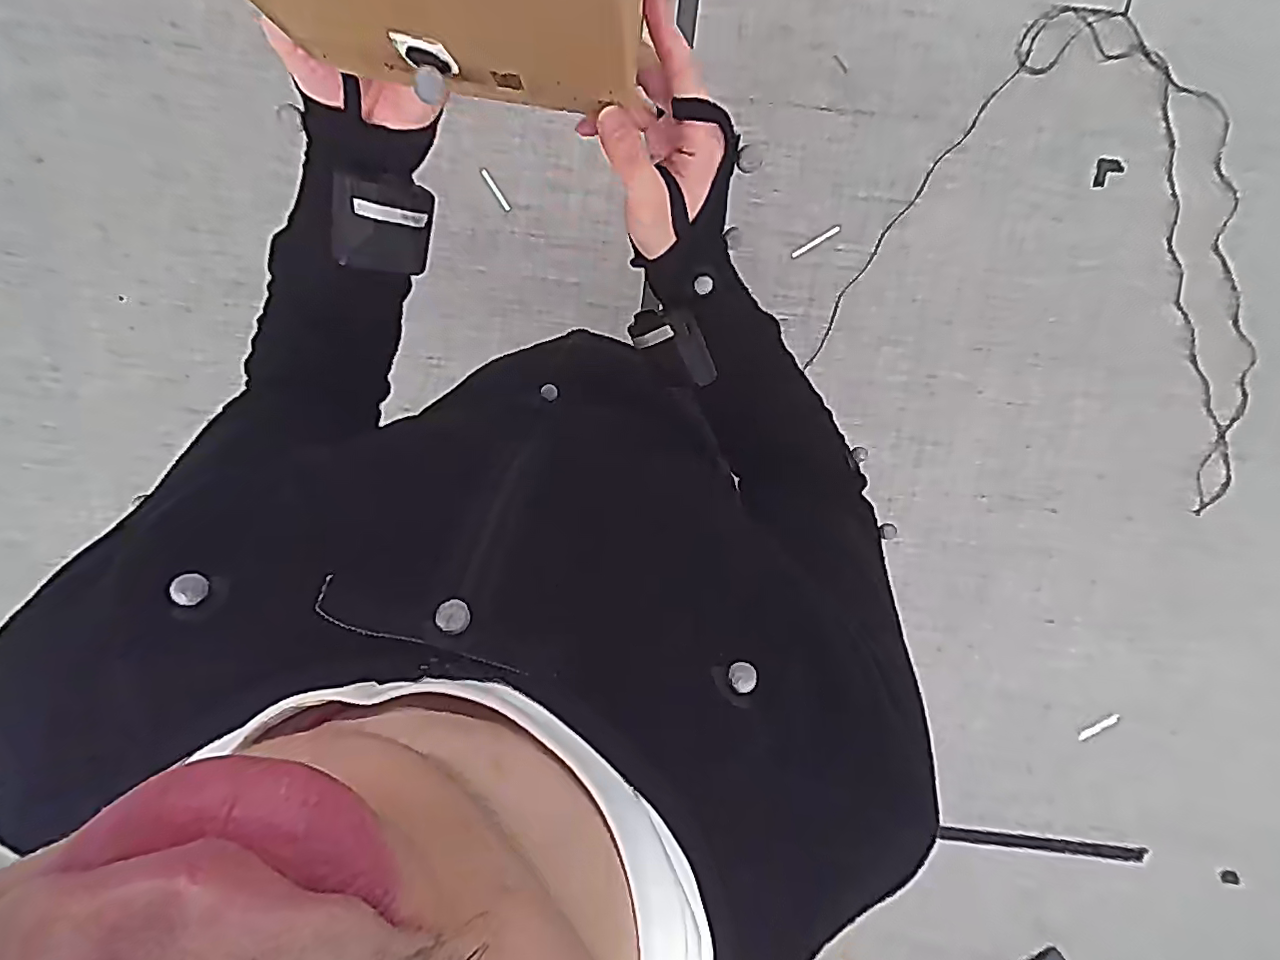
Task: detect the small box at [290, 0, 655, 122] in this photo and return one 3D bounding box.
[{"bbox_3d":[-0.070,-0.278,0.205,0.168,0.176,0.179,7,101,0],"label":"small box"}]
